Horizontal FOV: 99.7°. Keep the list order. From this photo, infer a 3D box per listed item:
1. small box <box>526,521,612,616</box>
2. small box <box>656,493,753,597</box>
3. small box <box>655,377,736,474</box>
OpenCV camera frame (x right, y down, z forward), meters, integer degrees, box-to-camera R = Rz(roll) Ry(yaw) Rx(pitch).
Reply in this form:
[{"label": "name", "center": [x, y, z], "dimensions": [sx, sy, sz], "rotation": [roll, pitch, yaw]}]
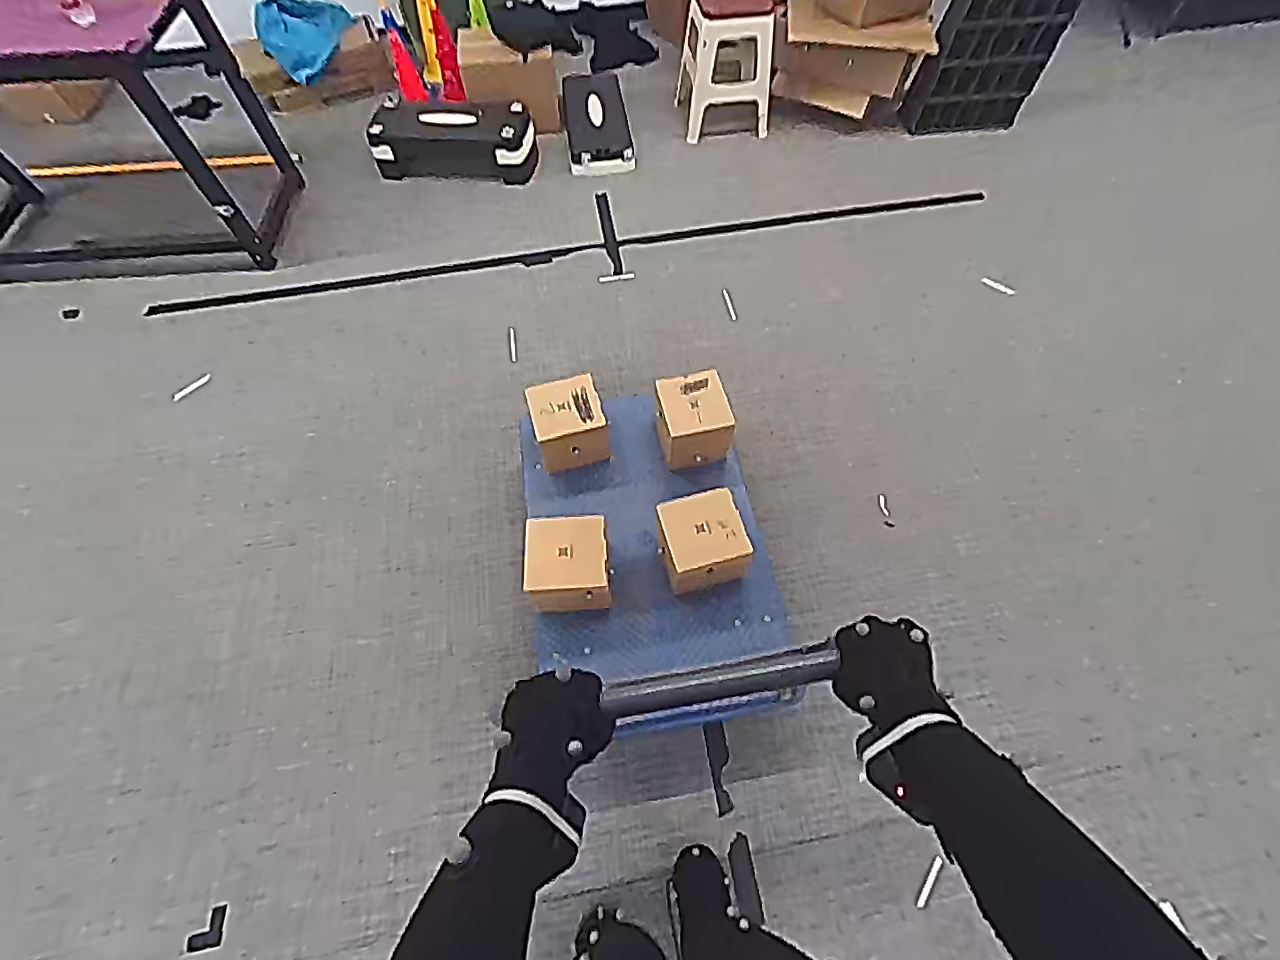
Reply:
[{"label": "small box", "center": [-0.157, 0.207, 1.235], "dimensions": [0.179, 0.176, 0.168], "rotation": [-3, 61, -3]}, {"label": "small box", "center": [0.143, 0.157, 1.258], "dimensions": [0.179, 0.176, 0.168], "rotation": [-14, 62, -7]}, {"label": "small box", "center": [0.137, -0.141, 1.420], "dimensions": [0.168, 0.176, 0.179], "rotation": [-12, 63, -5]}]
